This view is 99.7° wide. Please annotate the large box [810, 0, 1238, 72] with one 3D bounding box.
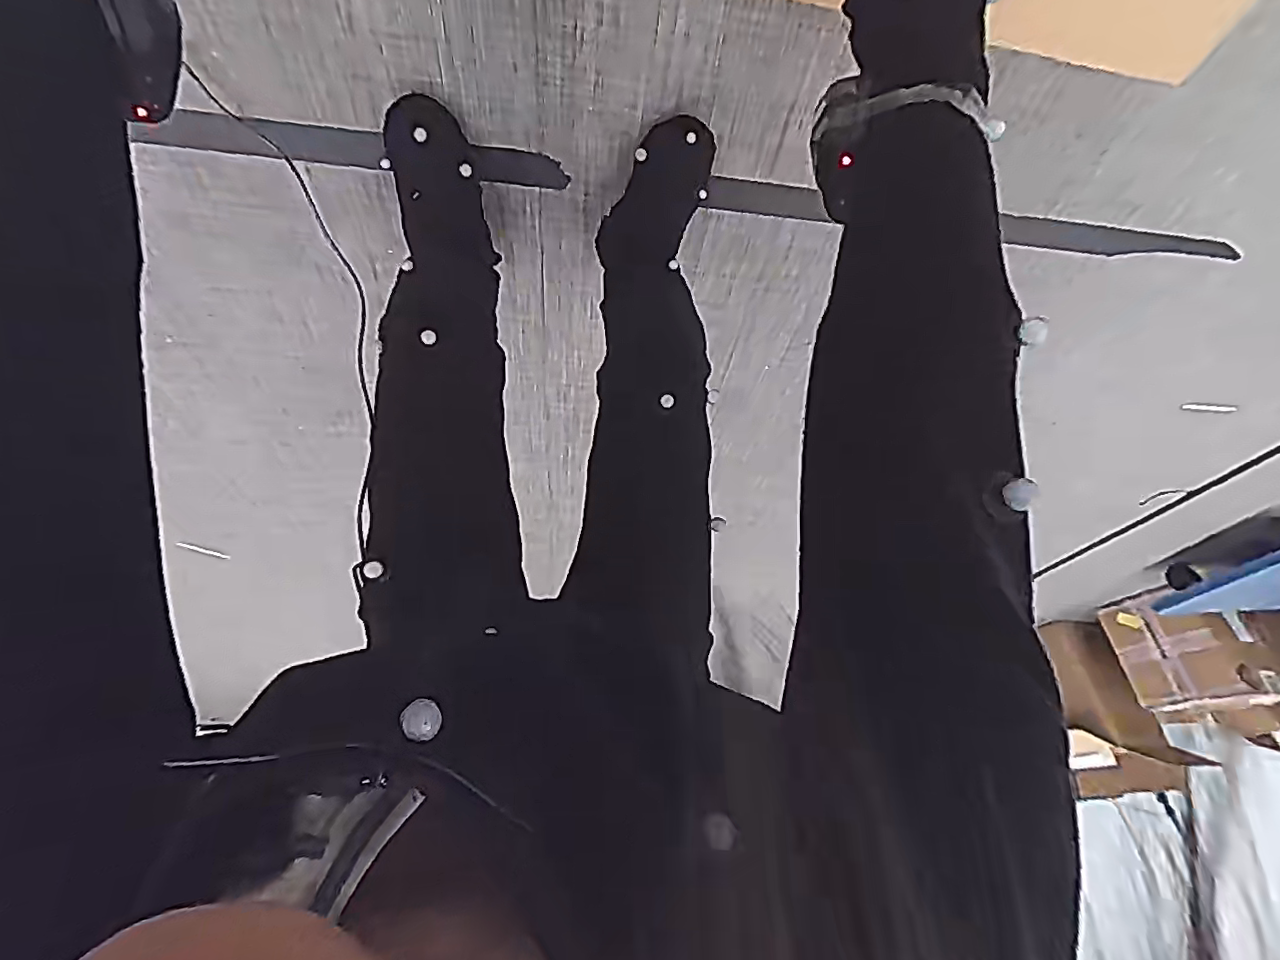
[{"bbox_3d":[0.274,-0.560,0.380,0.408,0.320,0.320,3,147,-11],"label":"large box"}]
